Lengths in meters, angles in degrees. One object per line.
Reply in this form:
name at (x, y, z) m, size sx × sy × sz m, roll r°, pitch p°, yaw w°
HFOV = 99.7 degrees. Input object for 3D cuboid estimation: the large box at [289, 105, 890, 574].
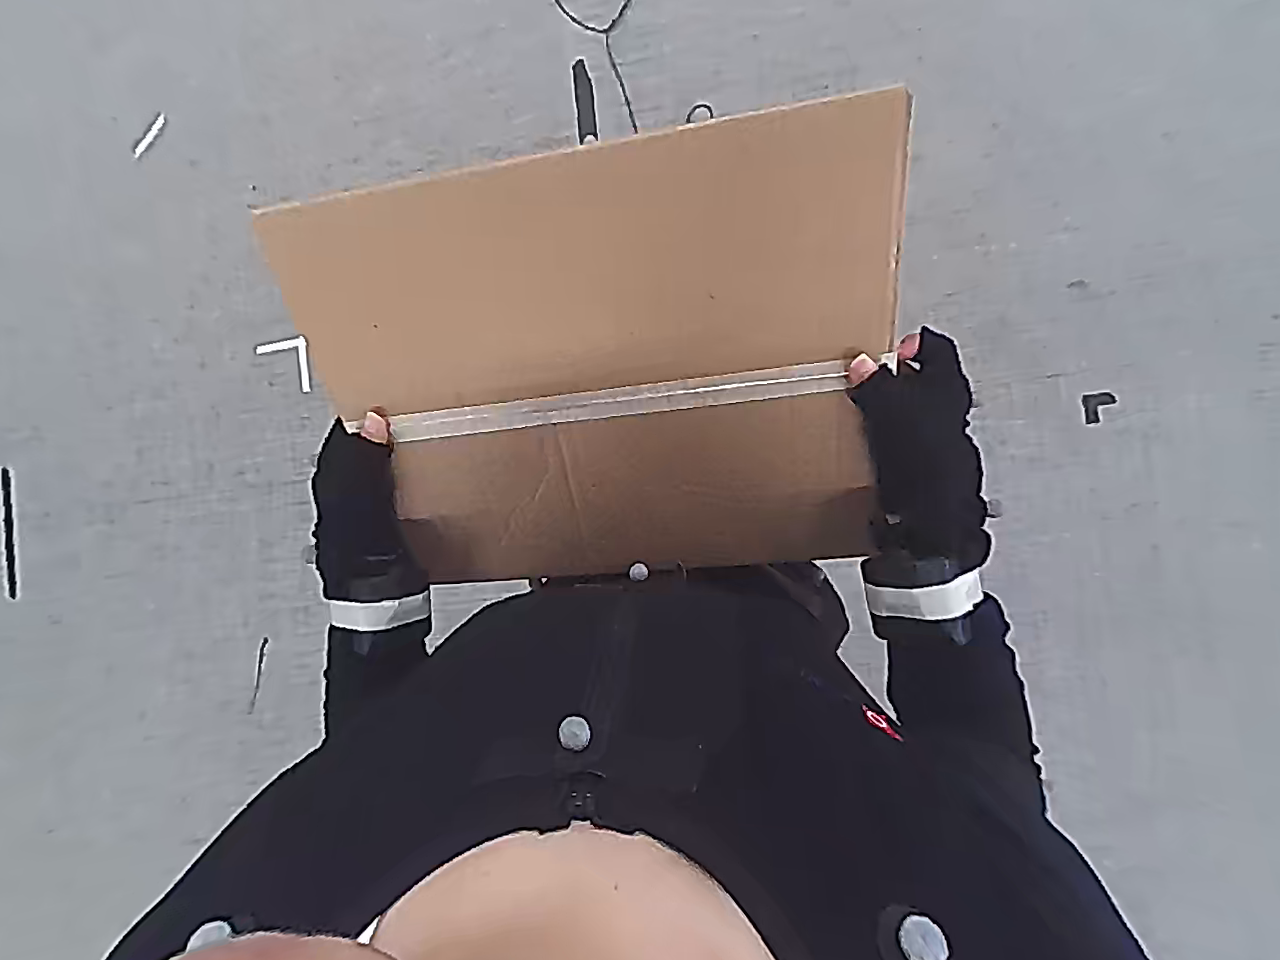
large box at (-0.009, -0.135, 0.537) m, size 0.408 × 0.320 × 0.320 m, roll -5°, pitch 119°, yaw 10°
